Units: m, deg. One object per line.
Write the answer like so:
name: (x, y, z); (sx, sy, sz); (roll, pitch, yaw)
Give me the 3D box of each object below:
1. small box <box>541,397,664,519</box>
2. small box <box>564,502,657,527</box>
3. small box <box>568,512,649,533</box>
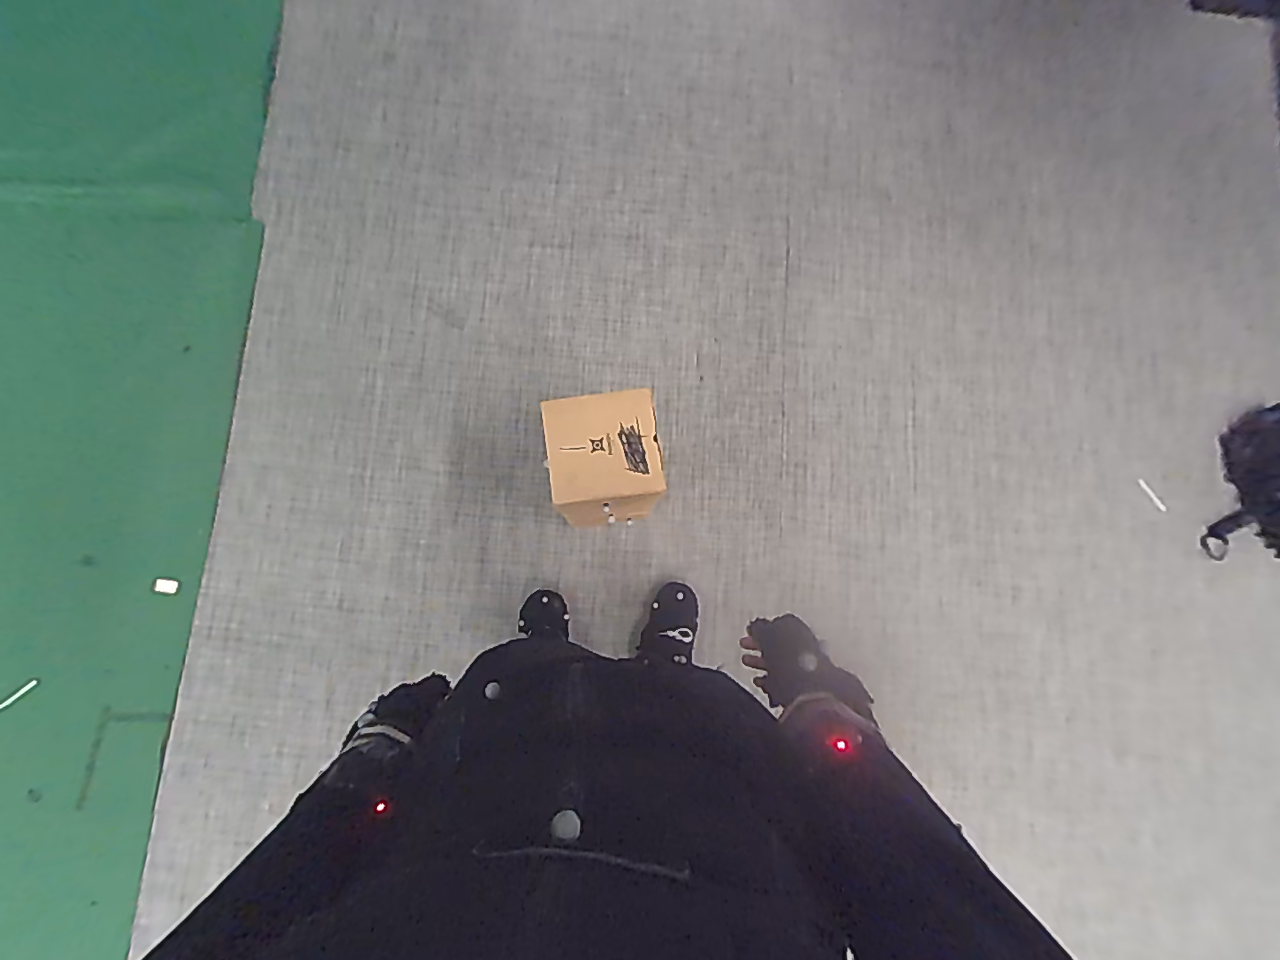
small box: (-0.063, -0.030, 0.914); (0.179, 0.176, 0.168); (-8, 81, -3)
small box: (-0.072, -0.002, 1.078); (0.179, 0.176, 0.168); (-11, 83, -4)
small box: (-0.081, 0.026, 1.237); (0.179, 0.176, 0.168); (-9, 81, -3)
